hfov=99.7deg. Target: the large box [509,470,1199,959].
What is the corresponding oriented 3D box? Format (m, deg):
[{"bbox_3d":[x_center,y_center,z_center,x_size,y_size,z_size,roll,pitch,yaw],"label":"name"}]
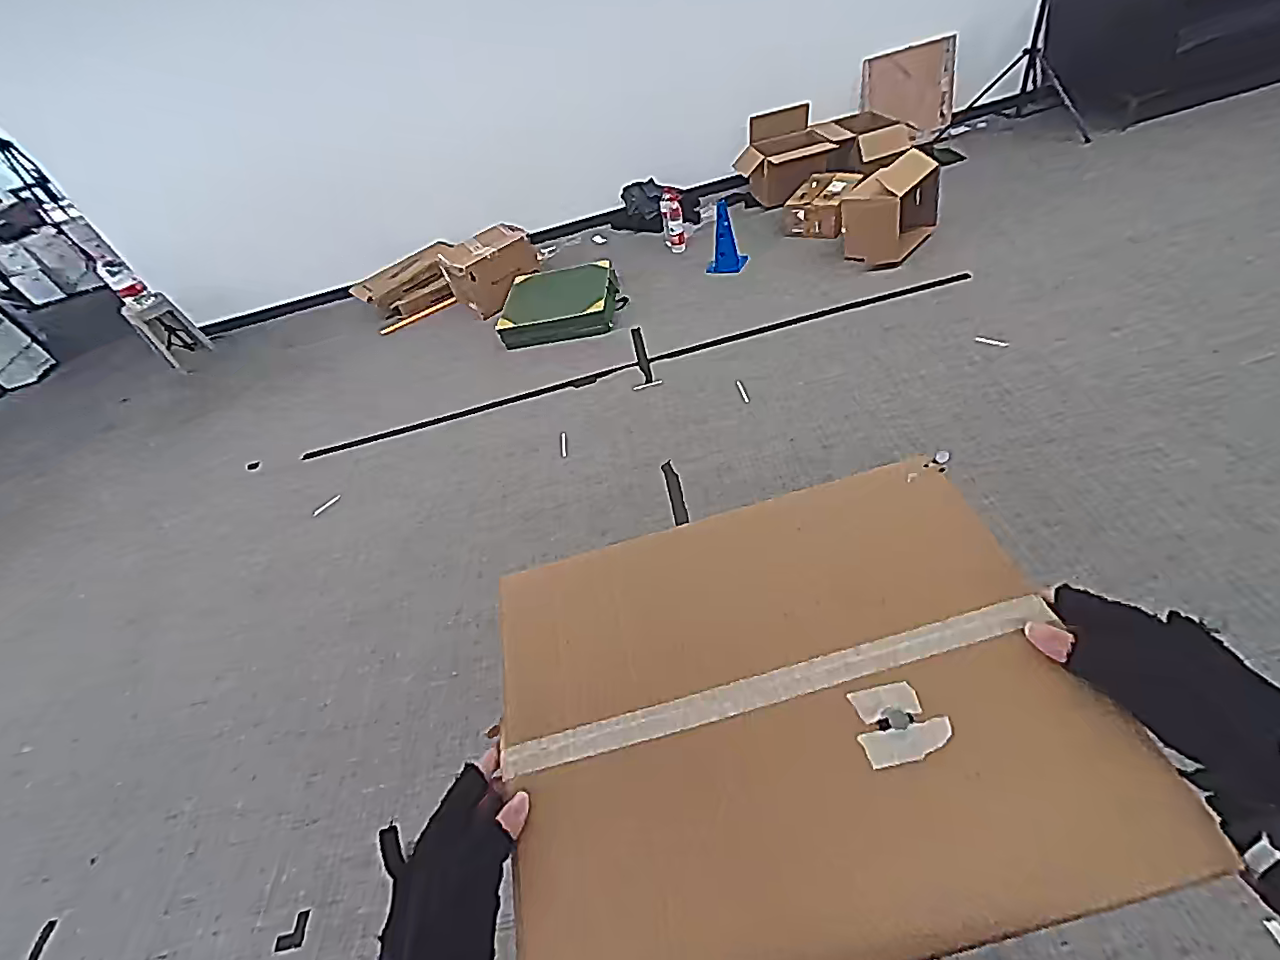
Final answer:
[{"bbox_3d":[0.127,0.251,0.517,0.408,0.320,0.320,-16,51,0],"label":"large box"}]
